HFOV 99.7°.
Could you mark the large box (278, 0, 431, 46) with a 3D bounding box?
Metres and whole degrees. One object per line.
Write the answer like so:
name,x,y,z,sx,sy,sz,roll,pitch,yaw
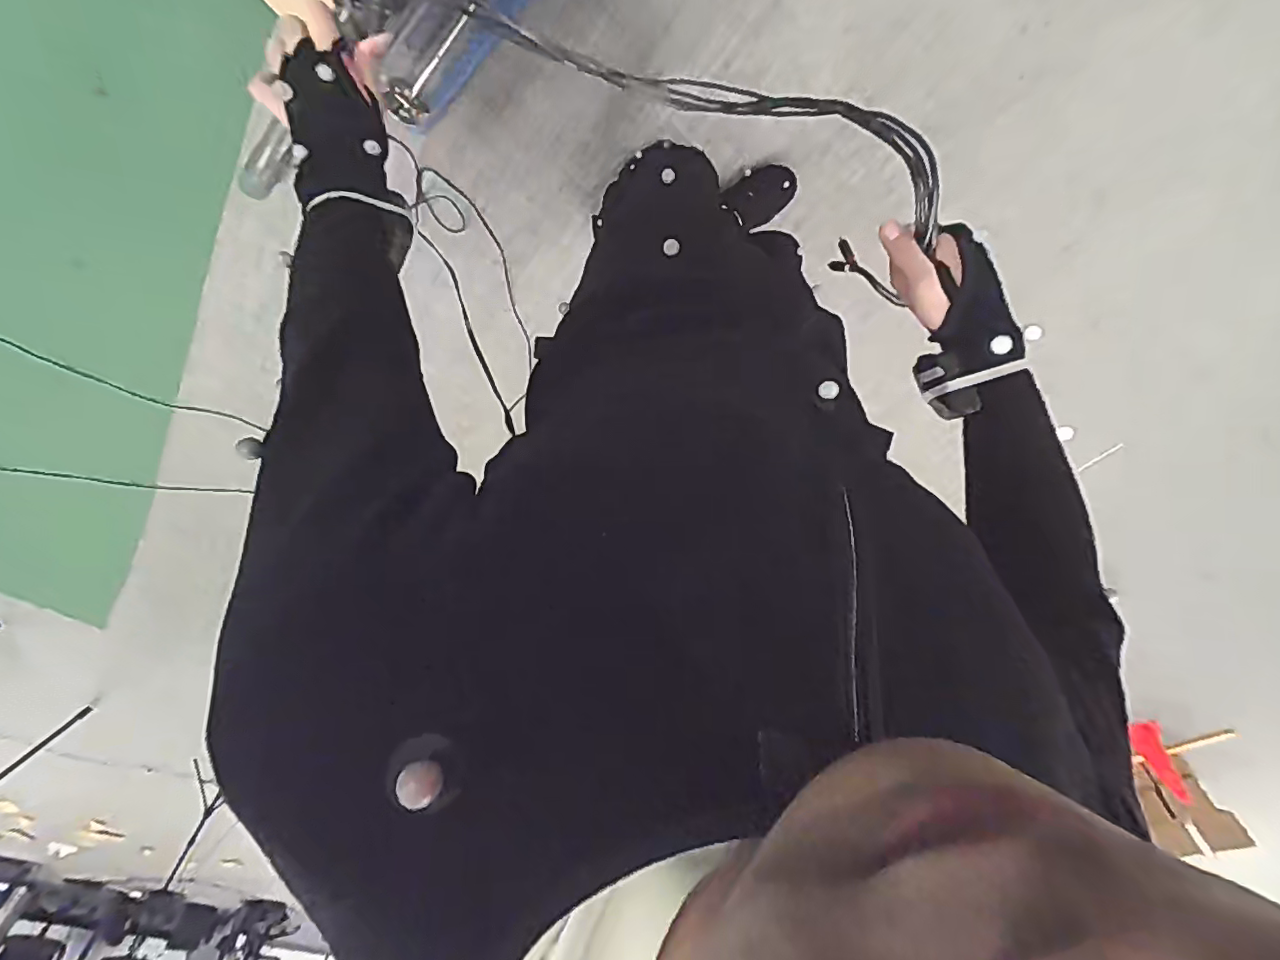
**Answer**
large box,-0.475,-0.920,0.752,0.320,0.320,0.408,-34,120,26
